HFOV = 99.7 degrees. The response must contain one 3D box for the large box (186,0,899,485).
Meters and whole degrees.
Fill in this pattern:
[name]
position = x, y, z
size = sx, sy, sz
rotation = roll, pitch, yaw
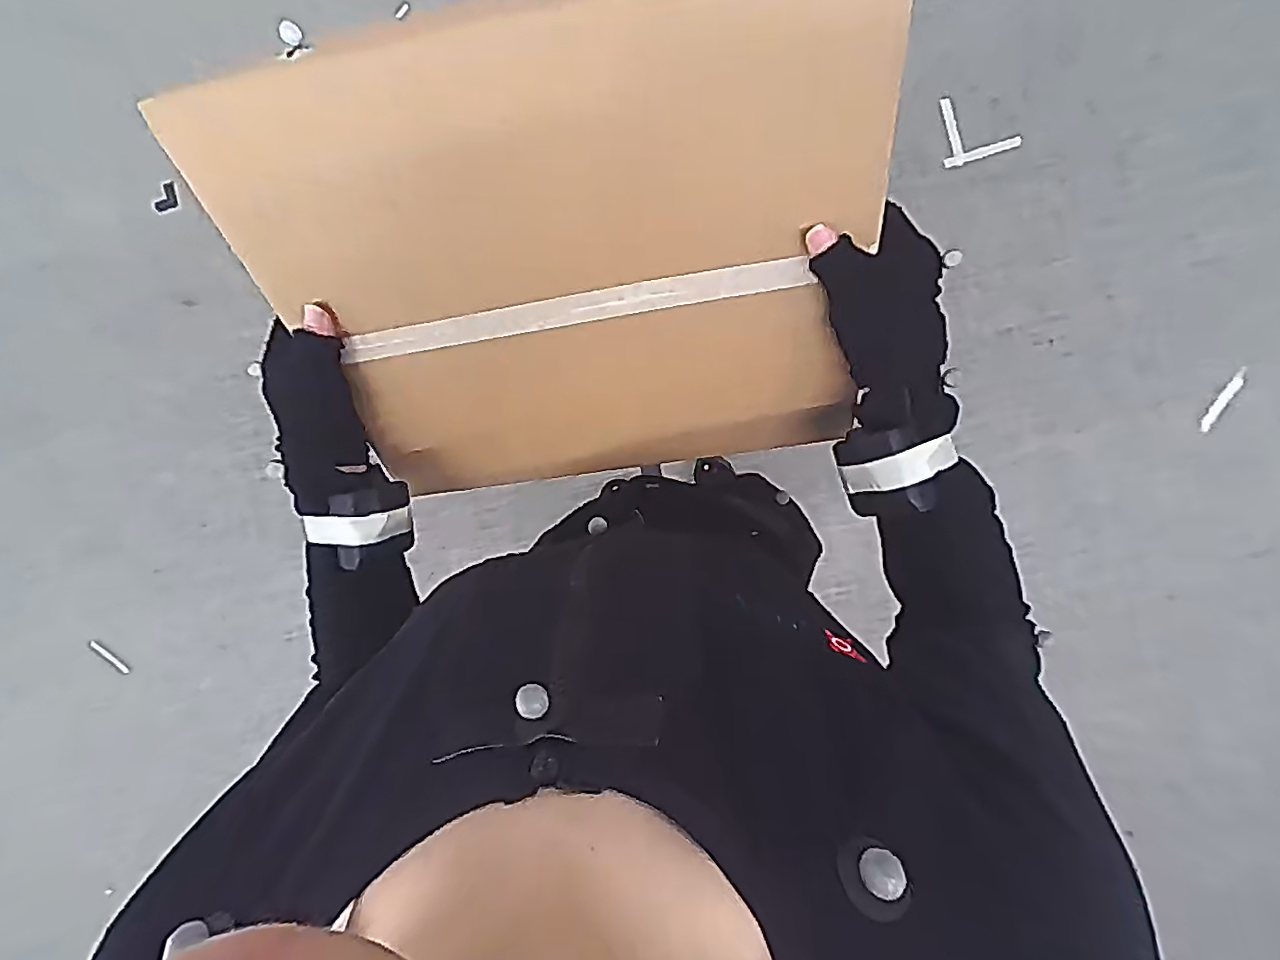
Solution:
[large box]
position = -0.045, -0.232, 0.492
size = 0.408, 0.320, 0.320
rotation = -7, 135, 6
